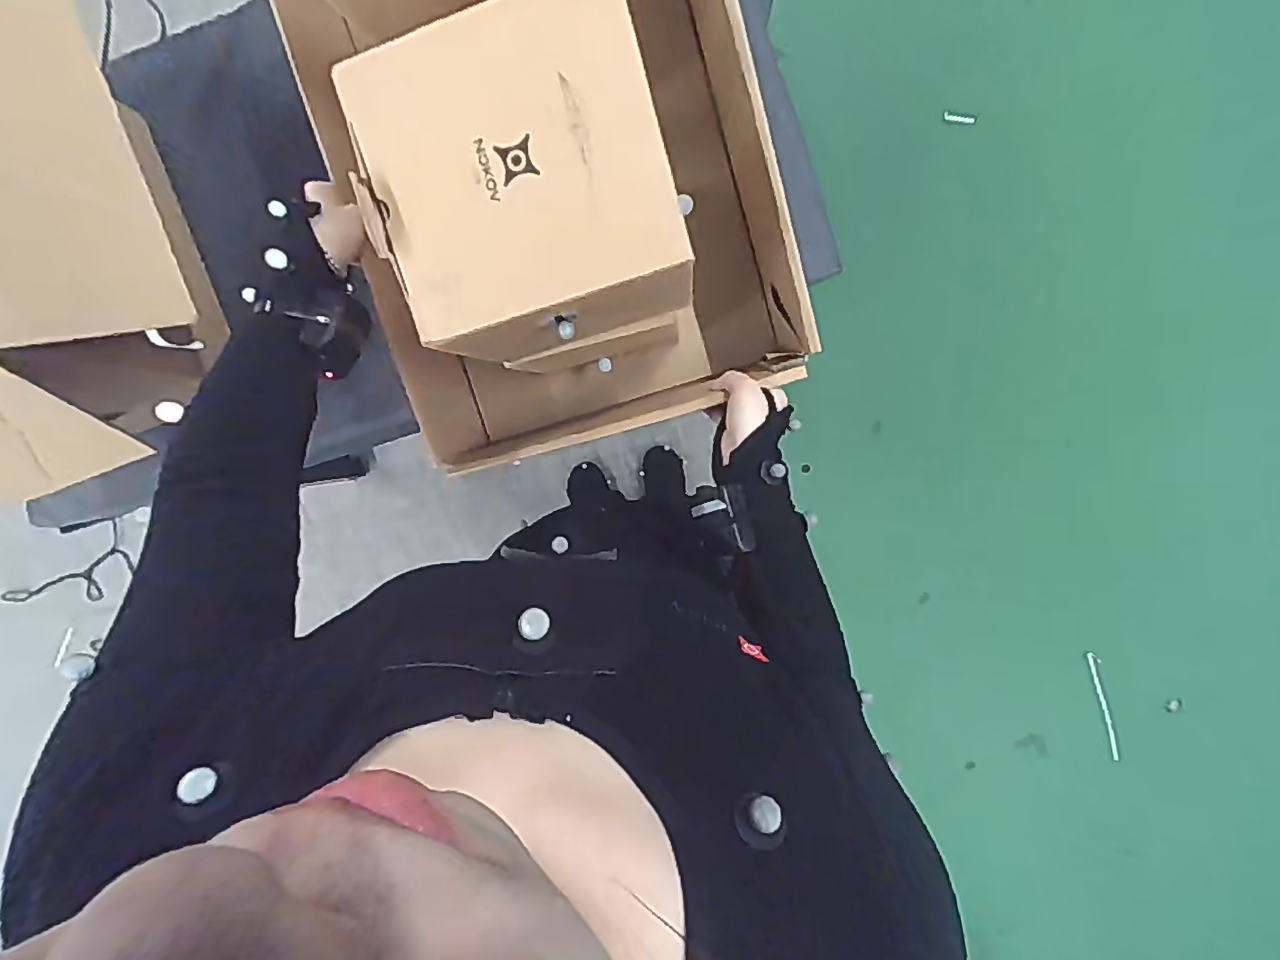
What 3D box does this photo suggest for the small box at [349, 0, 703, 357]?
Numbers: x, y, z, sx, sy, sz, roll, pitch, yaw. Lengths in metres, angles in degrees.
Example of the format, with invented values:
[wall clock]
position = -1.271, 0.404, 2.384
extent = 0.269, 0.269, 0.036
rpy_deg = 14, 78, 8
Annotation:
[small box]
position = -0.060, -0.195, 0.395
extent = 0.179, 0.176, 0.168
rpy_deg = -17, 99, 8
